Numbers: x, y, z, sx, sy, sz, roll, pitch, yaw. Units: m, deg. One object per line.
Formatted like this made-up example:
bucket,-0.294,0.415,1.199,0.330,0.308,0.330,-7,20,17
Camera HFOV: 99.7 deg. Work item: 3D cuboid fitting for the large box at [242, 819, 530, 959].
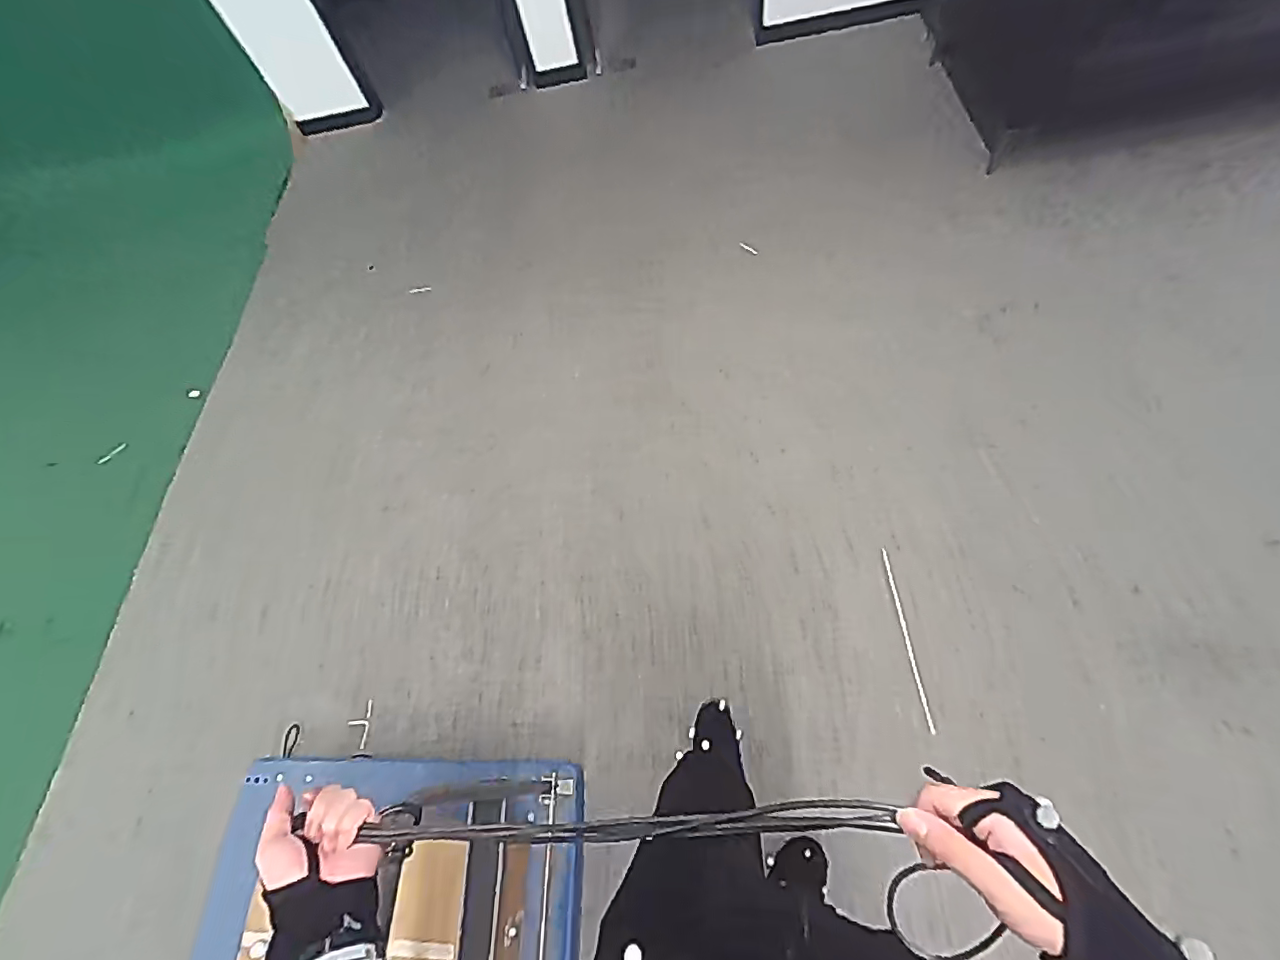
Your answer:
large box,-0.458,0.849,1.039,0.408,0.320,0.320,-4,62,9
